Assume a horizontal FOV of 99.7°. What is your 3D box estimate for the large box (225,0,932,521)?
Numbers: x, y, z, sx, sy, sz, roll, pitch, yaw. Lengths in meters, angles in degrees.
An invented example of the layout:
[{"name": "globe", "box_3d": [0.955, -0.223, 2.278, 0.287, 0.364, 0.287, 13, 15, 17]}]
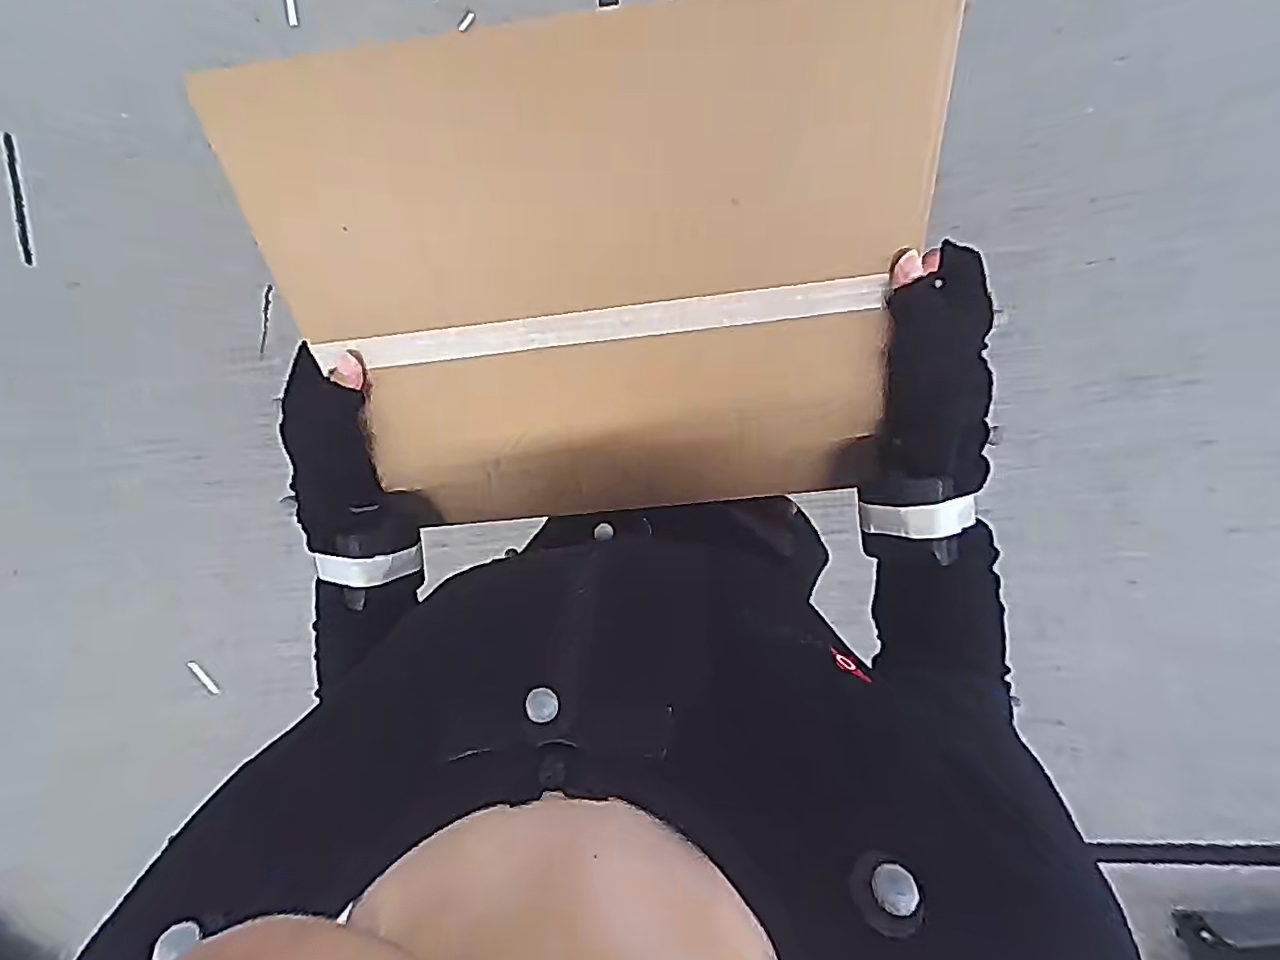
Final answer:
[{"name": "large box", "box_3d": [-0.022, -0.194, 0.497, 0.408, 0.320, 0.320, -6, 124, 4]}]
